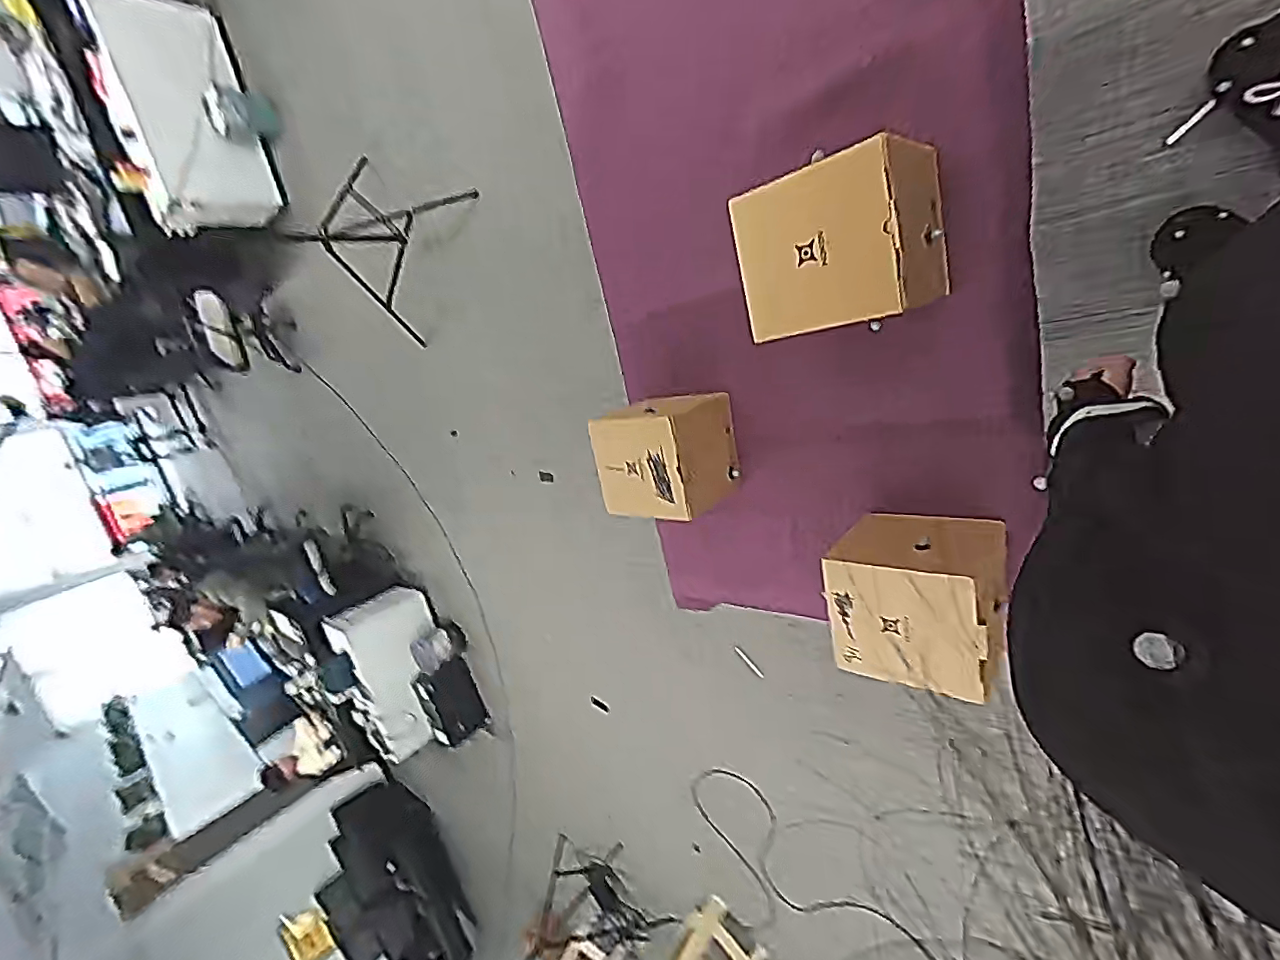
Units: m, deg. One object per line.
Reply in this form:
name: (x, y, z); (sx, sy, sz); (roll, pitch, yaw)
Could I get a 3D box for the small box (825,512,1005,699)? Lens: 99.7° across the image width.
small box: (0.369, 0.149, 0.712); (0.179, 0.176, 0.168); (1, 109, 42)

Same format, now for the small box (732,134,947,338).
small box: (0.238, -0.274, 0.639); (0.179, 0.176, 0.168); (-2, 108, 44)

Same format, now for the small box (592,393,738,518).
small box: (0.051, -0.047, 0.914); (0.179, 0.176, 0.168); (2, 110, 41)
